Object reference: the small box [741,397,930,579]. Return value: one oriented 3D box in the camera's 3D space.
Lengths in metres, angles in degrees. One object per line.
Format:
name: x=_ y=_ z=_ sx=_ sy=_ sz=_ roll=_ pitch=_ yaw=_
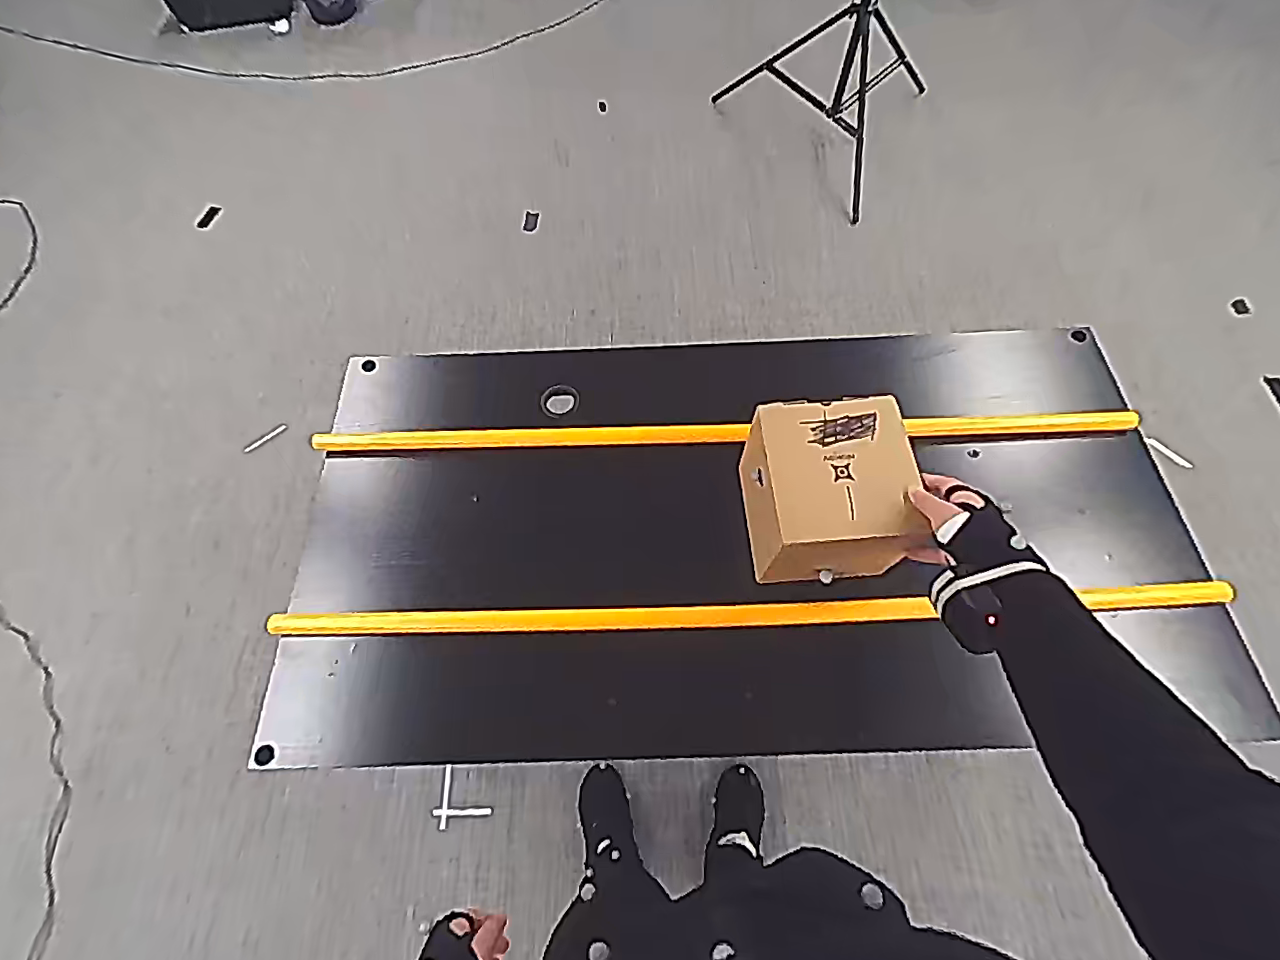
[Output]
small box: x=0.228 y=0.016 z=0.686 sx=0.168 sy=0.176 sz=0.179 roll=-4 pitch=65 yaw=1
